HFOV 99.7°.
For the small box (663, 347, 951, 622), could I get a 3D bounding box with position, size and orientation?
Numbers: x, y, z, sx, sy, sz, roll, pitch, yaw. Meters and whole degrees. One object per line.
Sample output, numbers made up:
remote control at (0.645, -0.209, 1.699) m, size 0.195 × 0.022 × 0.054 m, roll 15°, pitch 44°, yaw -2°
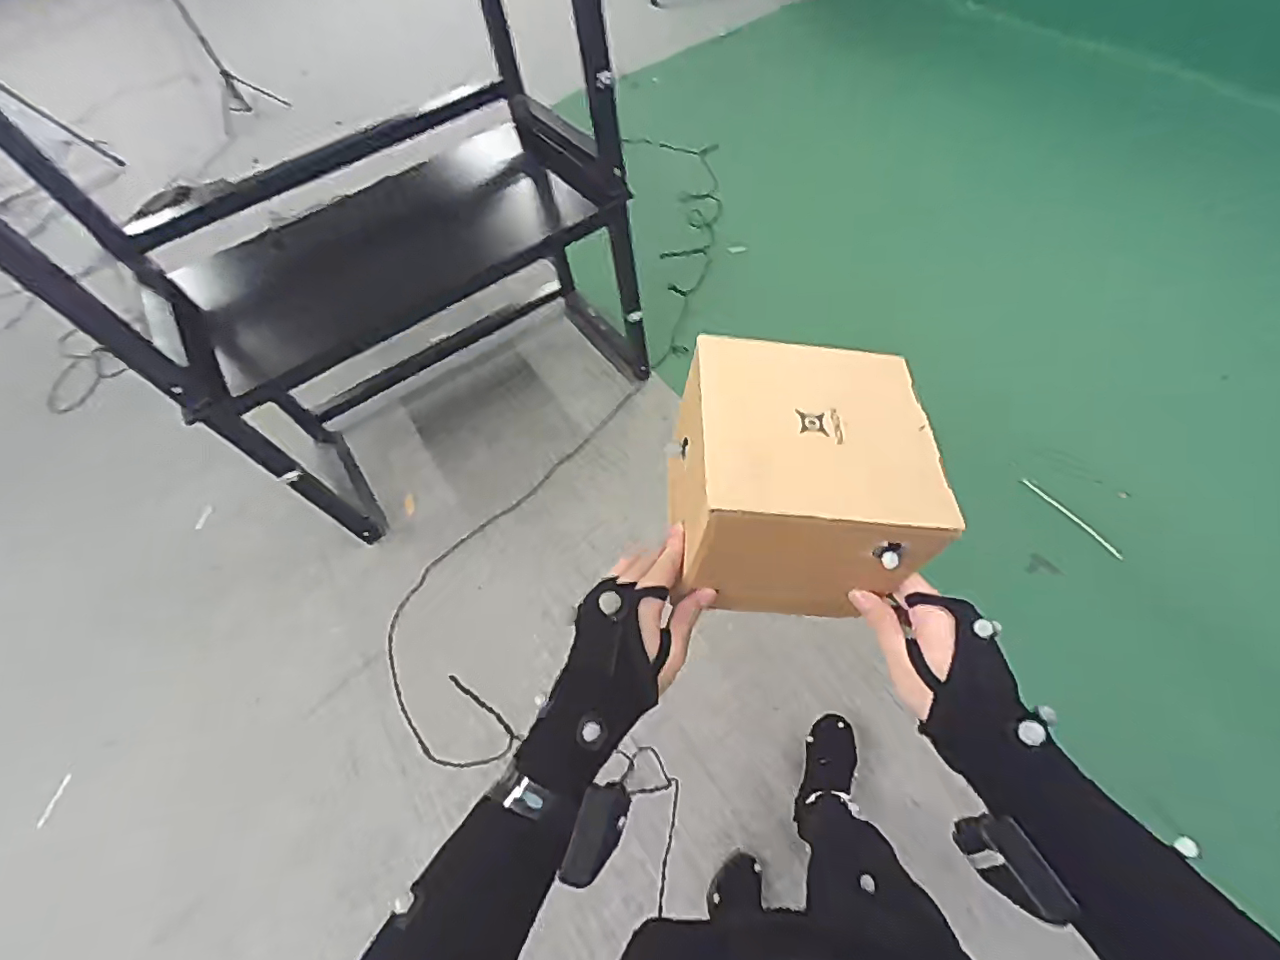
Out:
small box at (0.114, 0.012, 0.461) m, size 0.179 × 0.176 × 0.168 m, roll 5°, pitch 54°, yaw -5°
